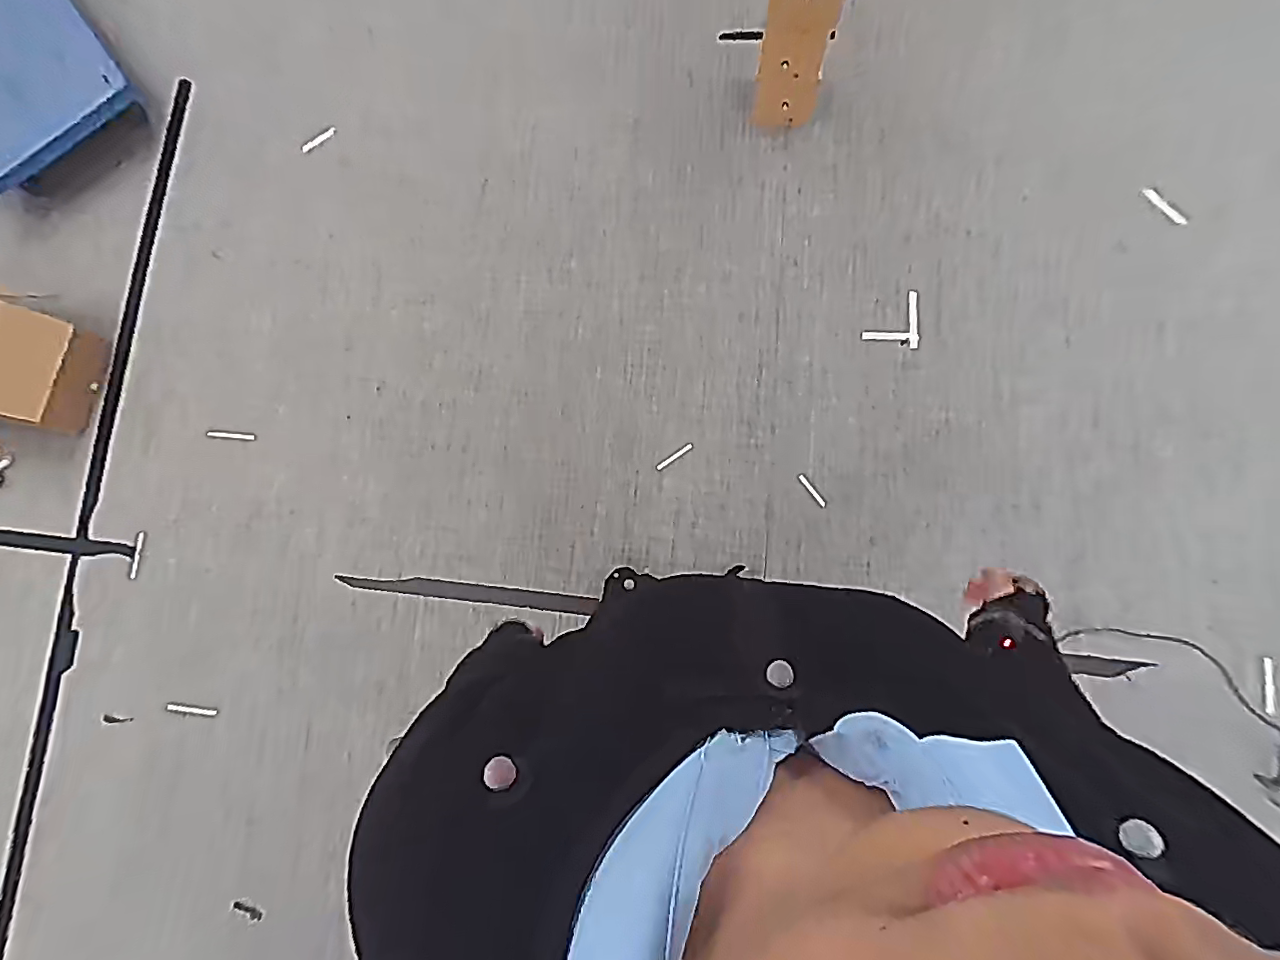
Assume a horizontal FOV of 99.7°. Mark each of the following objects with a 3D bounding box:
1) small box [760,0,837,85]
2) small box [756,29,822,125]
[{"bbox_3d":[0.423,-1.213,1.448,0.168,0.176,0.179,10,83,6],"label":"small box"},{"bbox_3d":[0.441,-1.194,1.609,0.168,0.176,0.179,3,82,4],"label":"small box"}]
